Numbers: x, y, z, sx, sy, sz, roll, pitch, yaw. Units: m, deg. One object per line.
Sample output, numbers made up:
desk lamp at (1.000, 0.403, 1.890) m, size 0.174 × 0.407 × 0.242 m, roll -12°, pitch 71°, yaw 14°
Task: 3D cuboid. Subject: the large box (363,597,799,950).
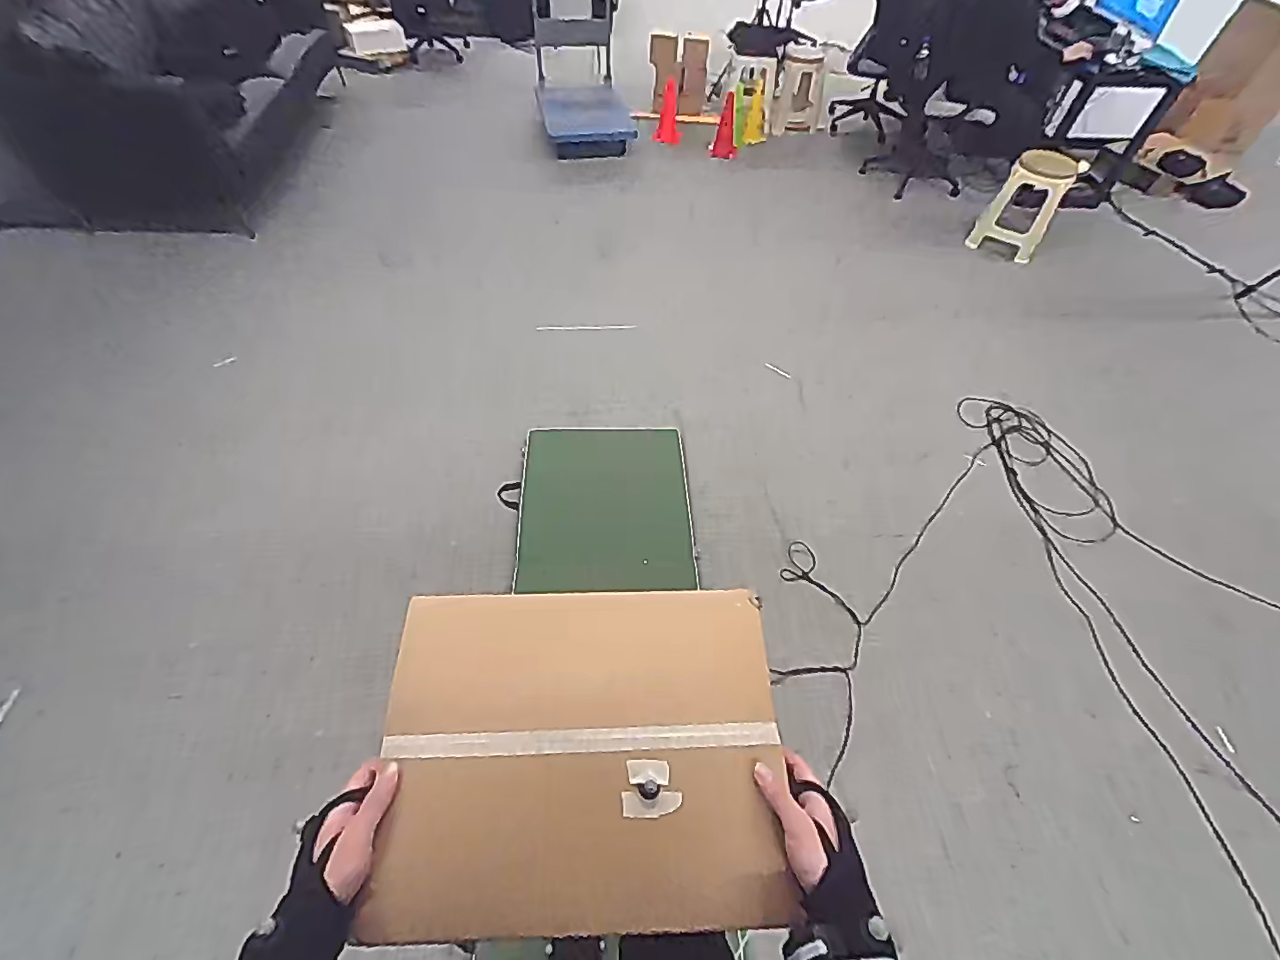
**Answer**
large box at (-0.063, 0.355, 0.690) m, size 0.408 × 0.320 × 0.320 m, roll -1°, pitch 59°, yaw -3°
